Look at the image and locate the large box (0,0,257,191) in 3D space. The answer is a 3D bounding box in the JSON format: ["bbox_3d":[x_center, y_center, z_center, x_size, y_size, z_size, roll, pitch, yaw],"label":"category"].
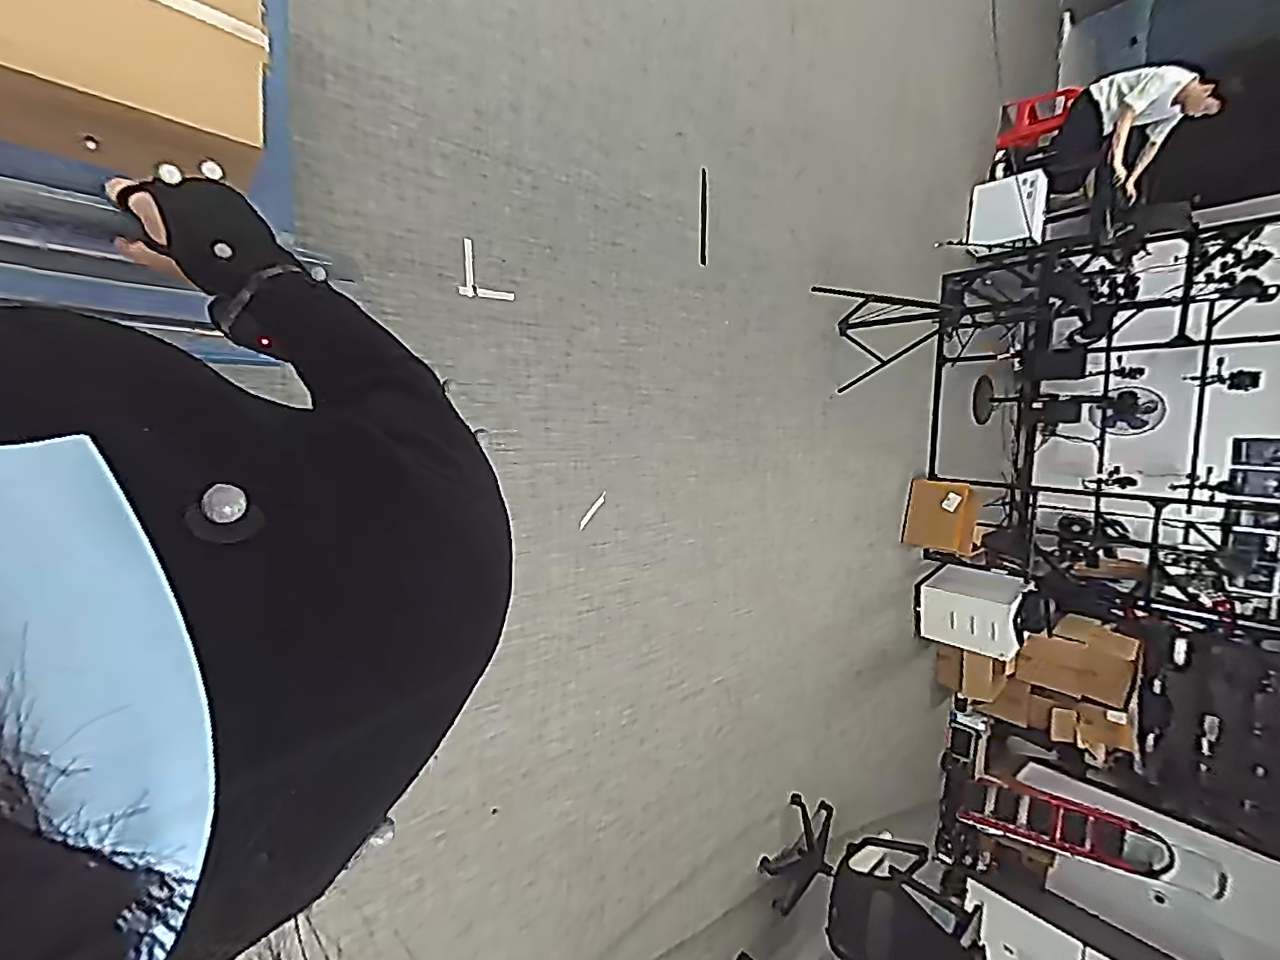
[{"bbox_3d":[-0.837,-0.690,0.809,0.408,0.320,0.320,-2,96,-41],"label":"large box"}]
